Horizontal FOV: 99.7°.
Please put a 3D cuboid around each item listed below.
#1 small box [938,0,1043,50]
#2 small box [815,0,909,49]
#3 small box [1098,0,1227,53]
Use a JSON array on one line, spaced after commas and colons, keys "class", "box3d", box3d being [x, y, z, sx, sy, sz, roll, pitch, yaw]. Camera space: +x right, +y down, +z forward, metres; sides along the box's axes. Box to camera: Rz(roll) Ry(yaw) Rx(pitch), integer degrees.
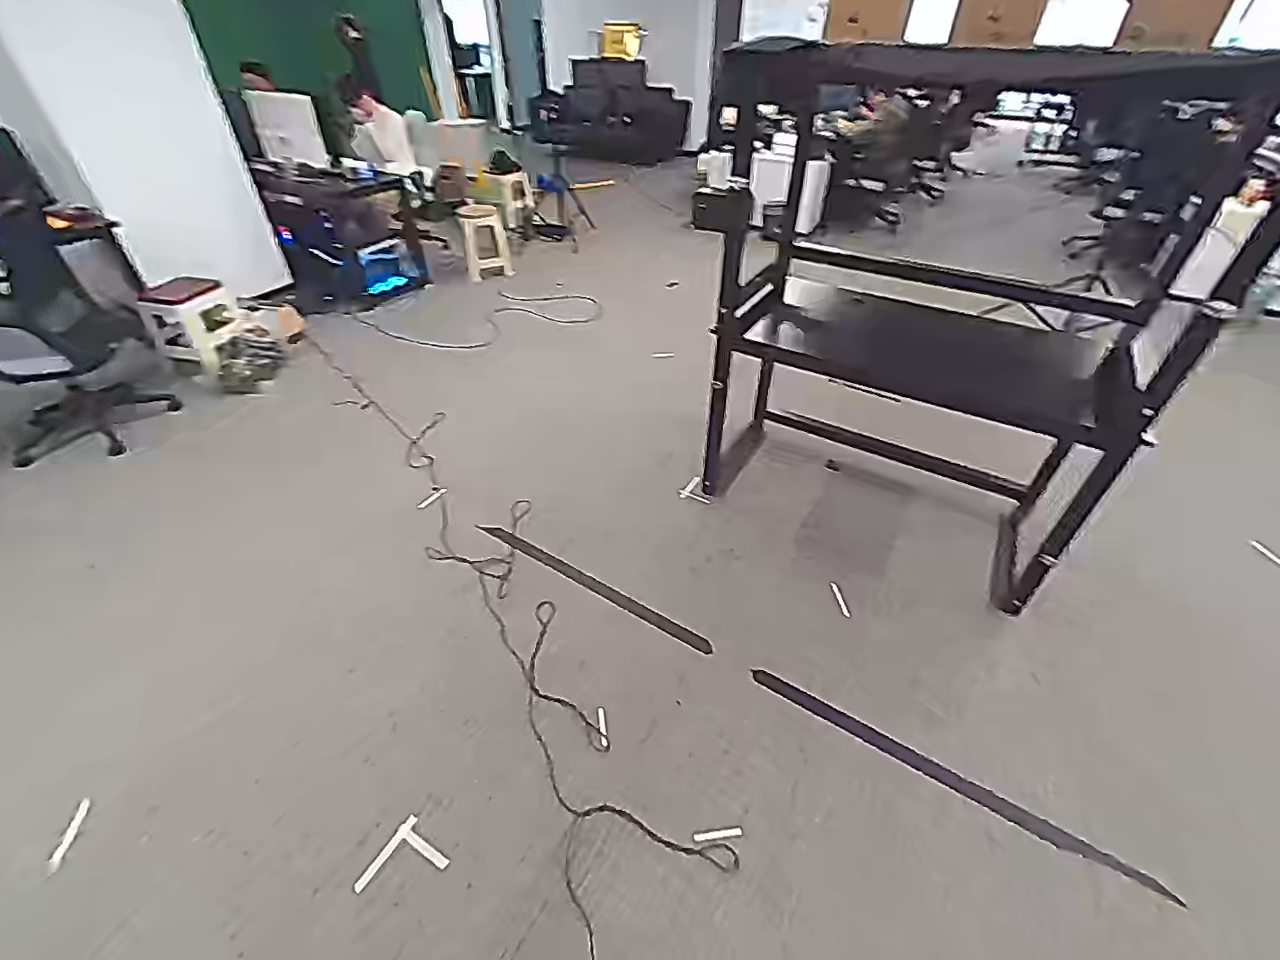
[{"class": "small box", "box3d": [0.757, -1.024, 1.145, 0.168, 0.176, 0.179, 22, 43, 25]}, {"class": "small box", "box3d": [0.524, -1.115, 1.254, 0.168, 0.176, 0.179, 22, 43, 23]}, {"class": "small box", "box3d": [1.013, -0.923, 1.027, 0.168, 0.176, 0.179, 25, 44, 27]}]
